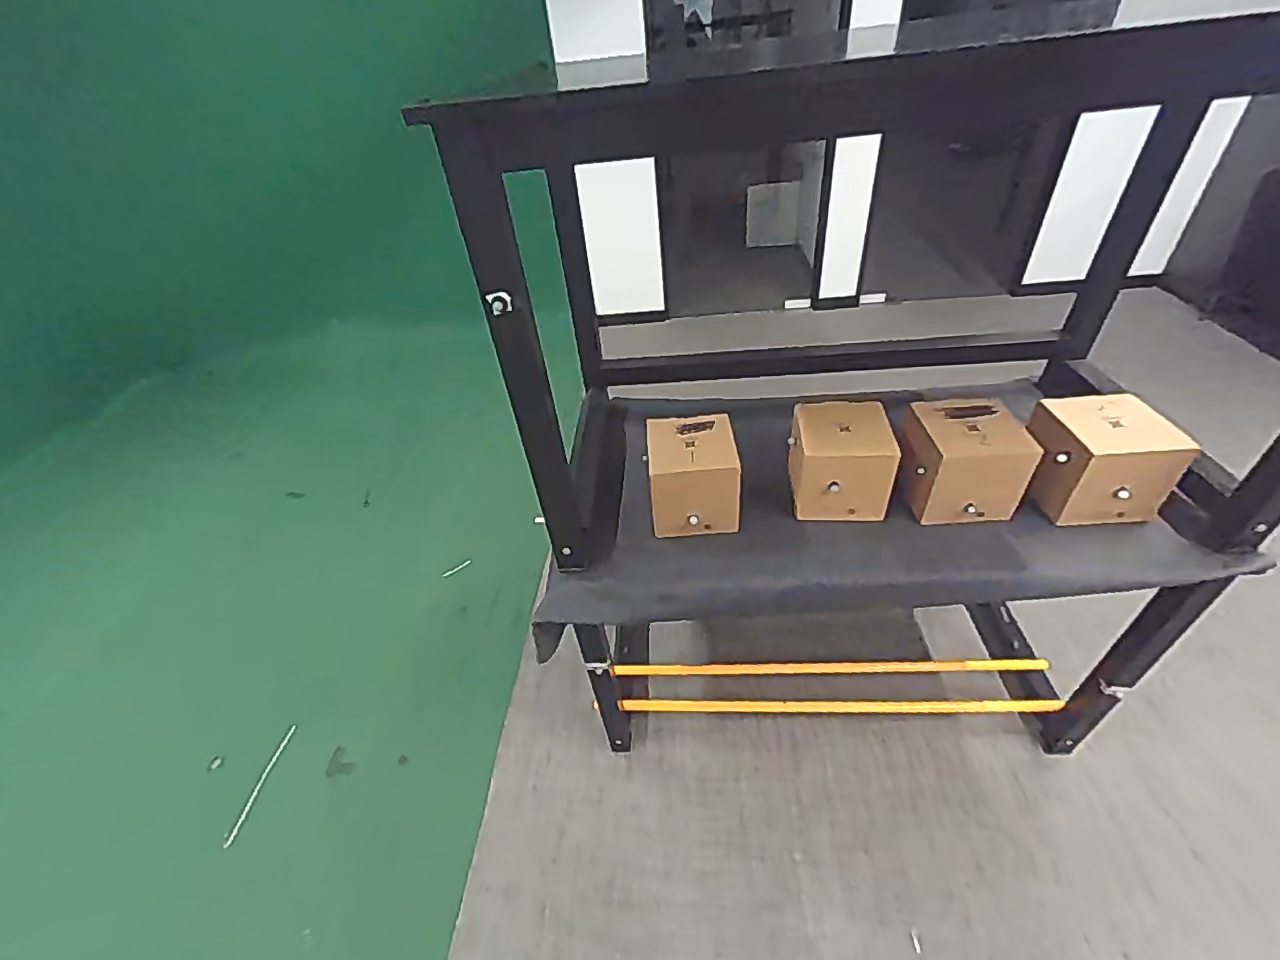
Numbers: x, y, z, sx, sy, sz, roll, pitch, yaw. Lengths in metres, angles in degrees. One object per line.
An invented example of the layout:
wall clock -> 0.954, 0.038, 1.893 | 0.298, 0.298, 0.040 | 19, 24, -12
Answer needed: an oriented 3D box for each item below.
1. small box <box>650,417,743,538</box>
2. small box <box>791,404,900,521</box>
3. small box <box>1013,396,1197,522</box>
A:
small box -> 0.108, -0.006, 1.078 | 0.168, 0.176, 0.179 | -5, 41, 3
small box -> 0.395, -0.033, 1.071 | 0.168, 0.176, 0.179 | 0, 40, 9
small box -> 0.838, -0.035, 0.999 | 0.168, 0.176, 0.179 | -3, 39, 4
